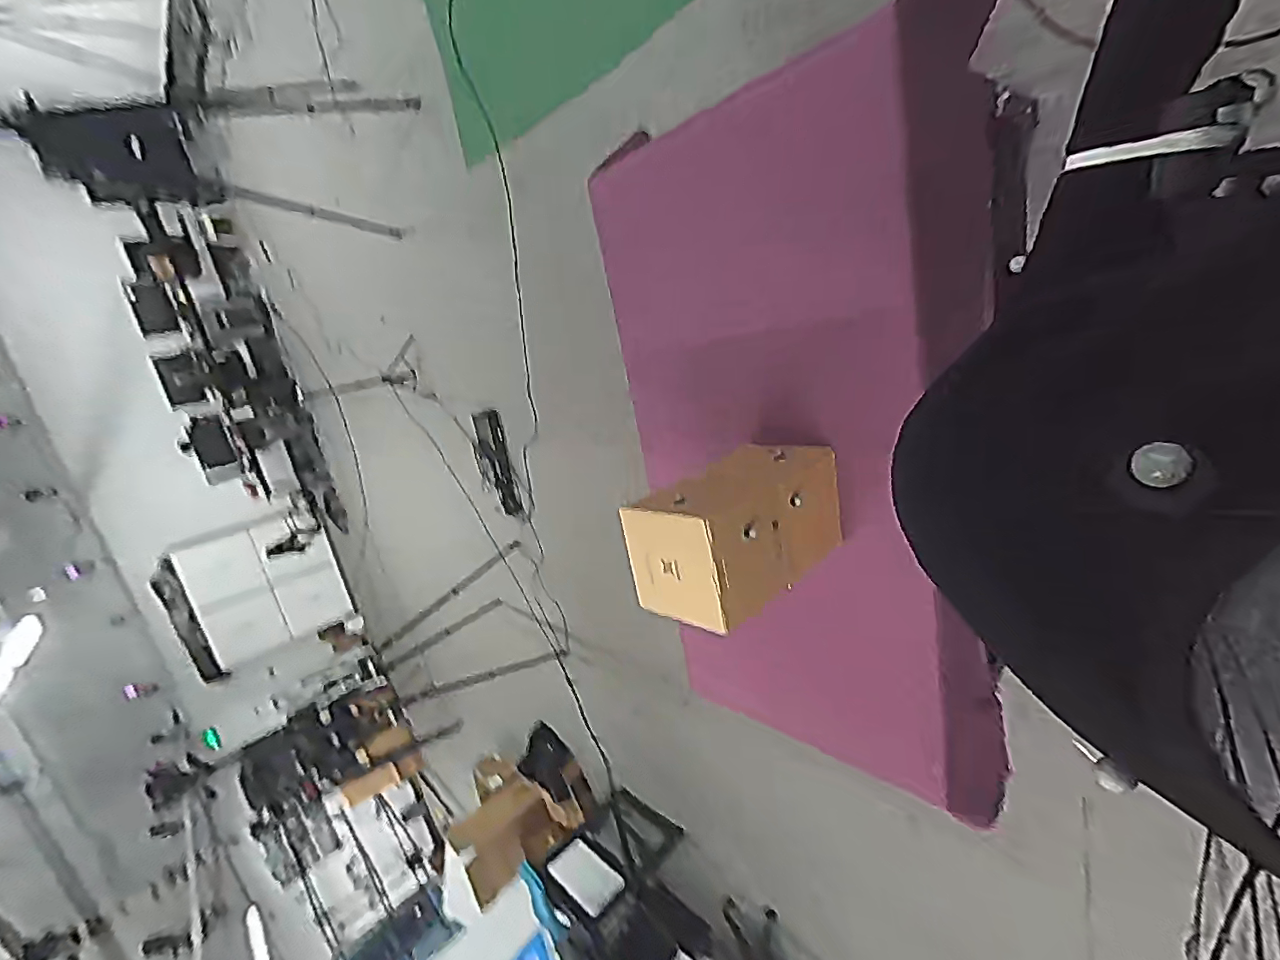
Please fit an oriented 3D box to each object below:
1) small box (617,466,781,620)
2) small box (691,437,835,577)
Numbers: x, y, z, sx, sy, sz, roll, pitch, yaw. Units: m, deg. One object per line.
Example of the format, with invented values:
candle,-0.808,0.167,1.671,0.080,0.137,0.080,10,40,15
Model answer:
small box,0.096,0.081,0.810,0.179,0.176,0.168,5,111,49
small box,0.213,0.036,0.914,0.168,0.176,0.179,6,113,48
